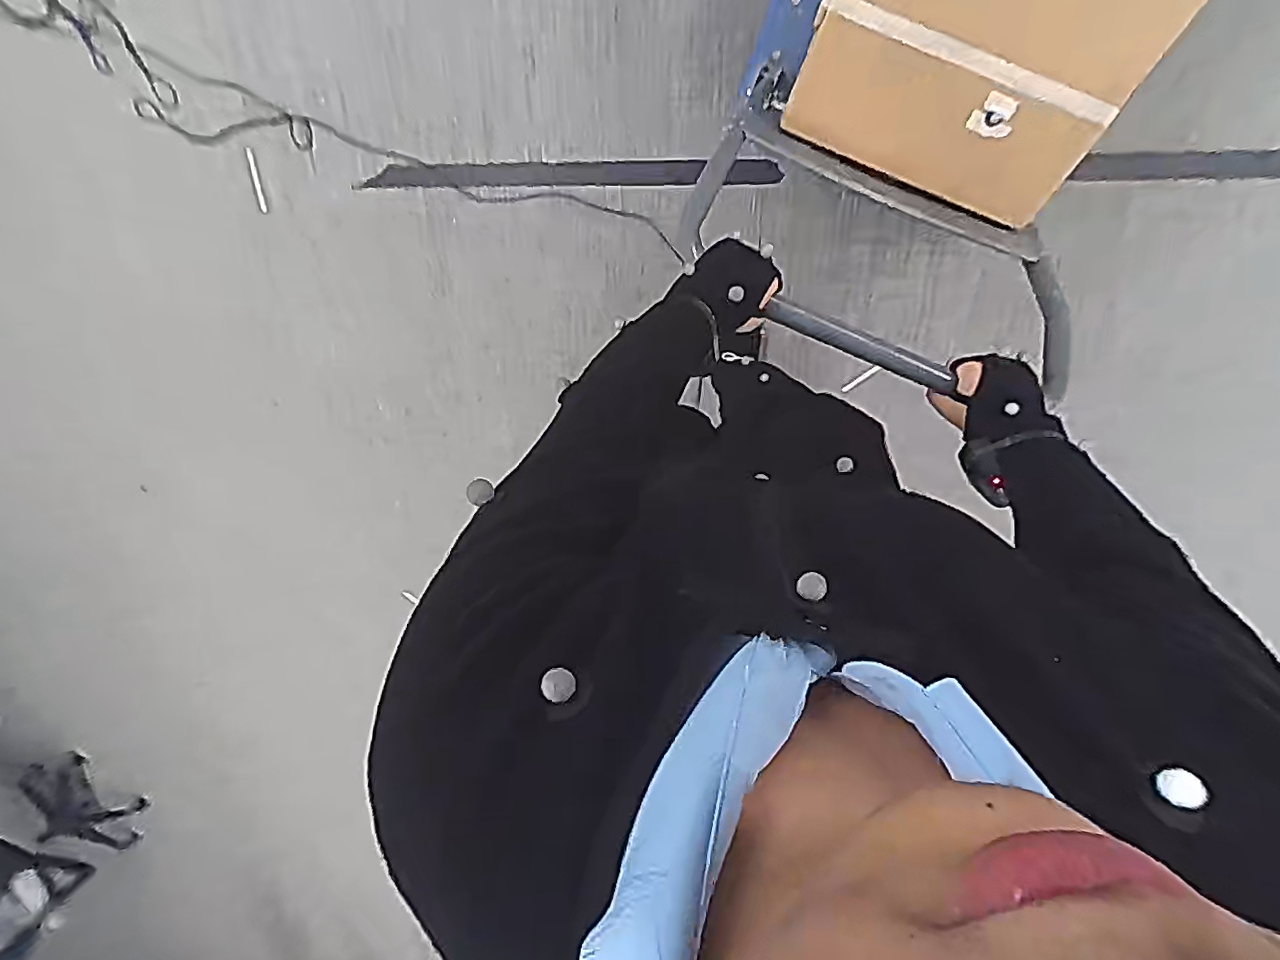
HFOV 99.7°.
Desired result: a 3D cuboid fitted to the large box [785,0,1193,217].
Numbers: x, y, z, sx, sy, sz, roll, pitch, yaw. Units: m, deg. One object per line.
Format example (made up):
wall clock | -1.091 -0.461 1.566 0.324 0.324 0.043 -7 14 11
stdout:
large box | 0.478 -0.669 0.819 0.408 0.320 0.320 22 137 -1
